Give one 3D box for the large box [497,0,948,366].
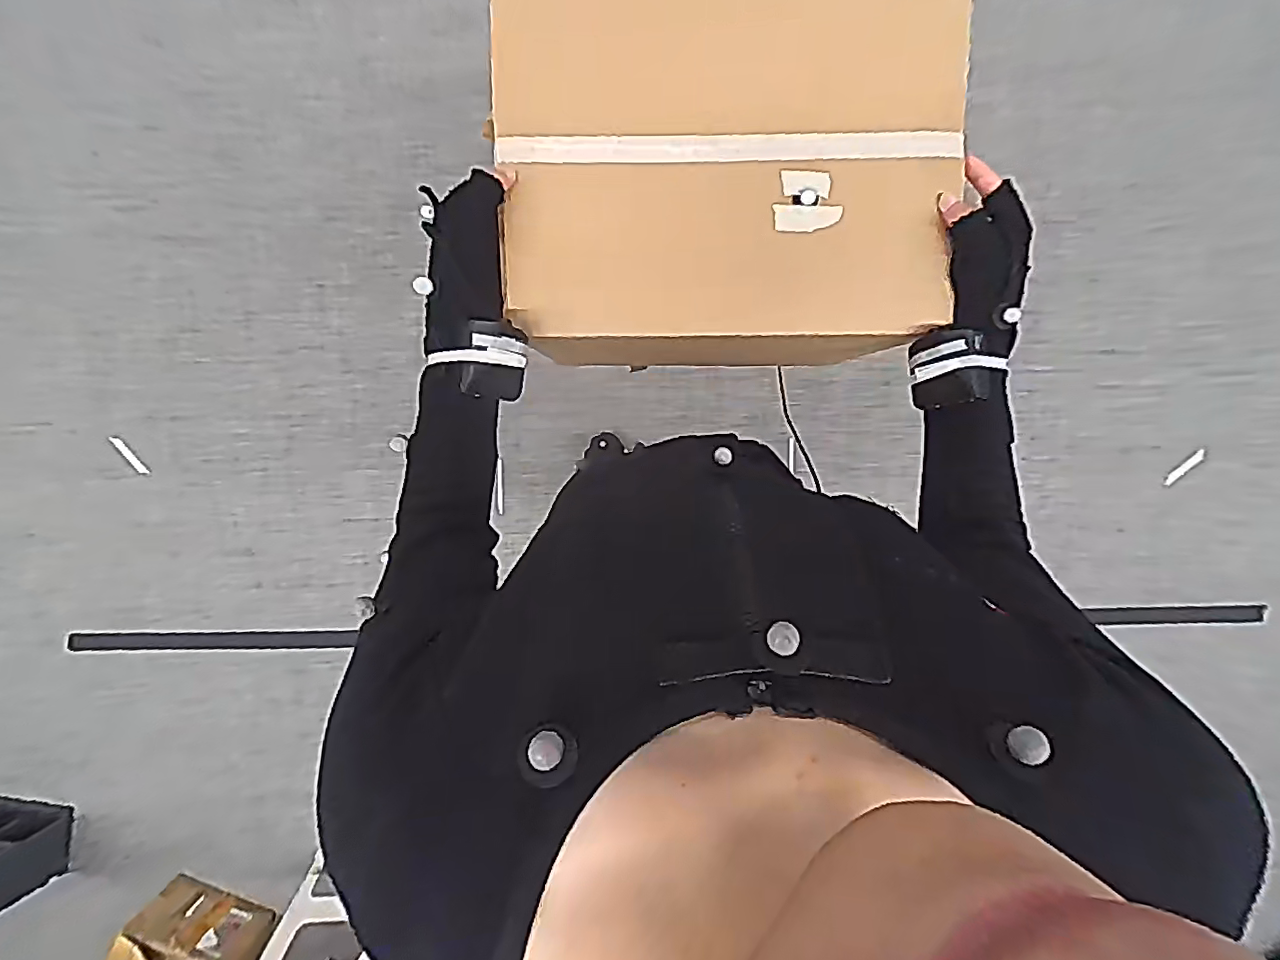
[{"bbox_3d":[0.073,-0.309,0.635,0.408,0.320,0.320,-1,98,-1],"label":"large box"}]
